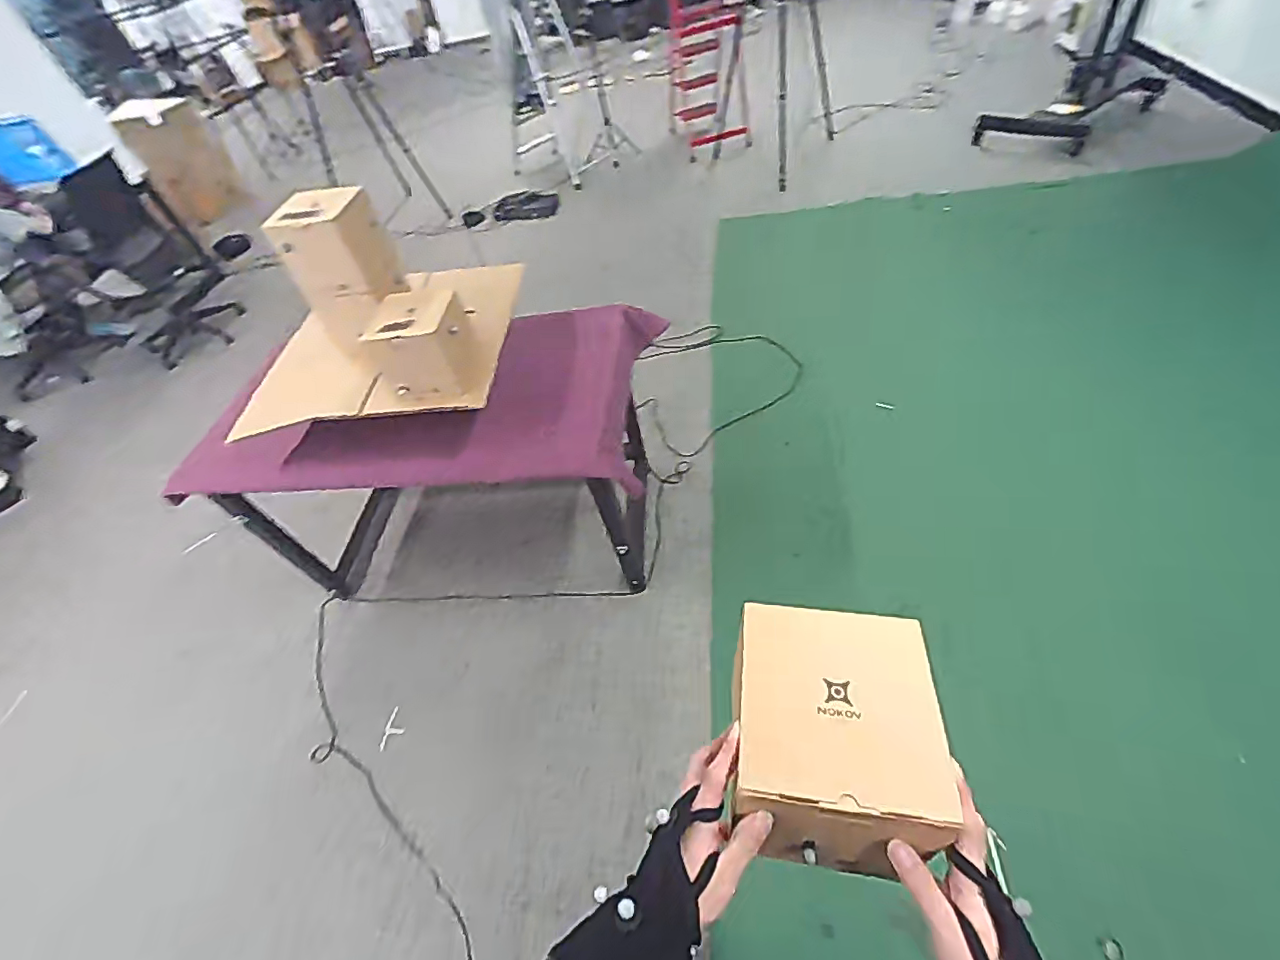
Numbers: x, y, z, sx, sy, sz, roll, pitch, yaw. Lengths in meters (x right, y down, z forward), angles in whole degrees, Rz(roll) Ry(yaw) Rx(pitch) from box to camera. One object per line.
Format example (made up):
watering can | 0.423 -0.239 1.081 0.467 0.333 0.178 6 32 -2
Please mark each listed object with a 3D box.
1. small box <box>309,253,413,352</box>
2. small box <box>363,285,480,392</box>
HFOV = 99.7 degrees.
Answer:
small box | -0.675 -0.444 1.358 0.168 0.176 0.179 -2 51 7
small box | -0.480 -0.313 1.220 0.168 0.176 0.179 -3 50 7
